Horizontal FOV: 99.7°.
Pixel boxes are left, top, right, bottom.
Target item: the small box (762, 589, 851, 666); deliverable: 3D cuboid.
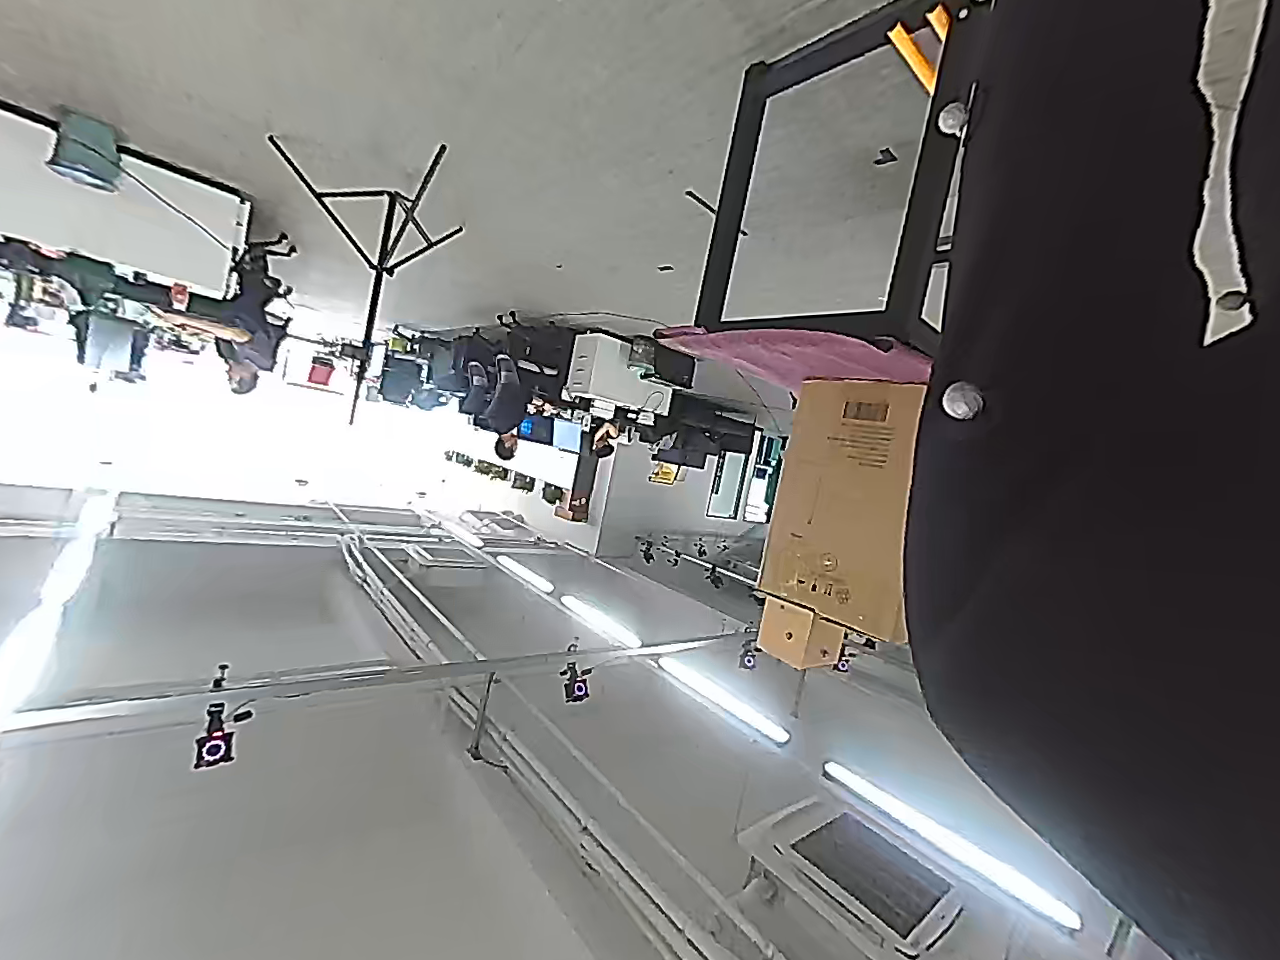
[{"bbox_3d":[0.482,0.419,1.566,0.179,0.176,0.168,7,-174,-36],"label":"small box"}]
